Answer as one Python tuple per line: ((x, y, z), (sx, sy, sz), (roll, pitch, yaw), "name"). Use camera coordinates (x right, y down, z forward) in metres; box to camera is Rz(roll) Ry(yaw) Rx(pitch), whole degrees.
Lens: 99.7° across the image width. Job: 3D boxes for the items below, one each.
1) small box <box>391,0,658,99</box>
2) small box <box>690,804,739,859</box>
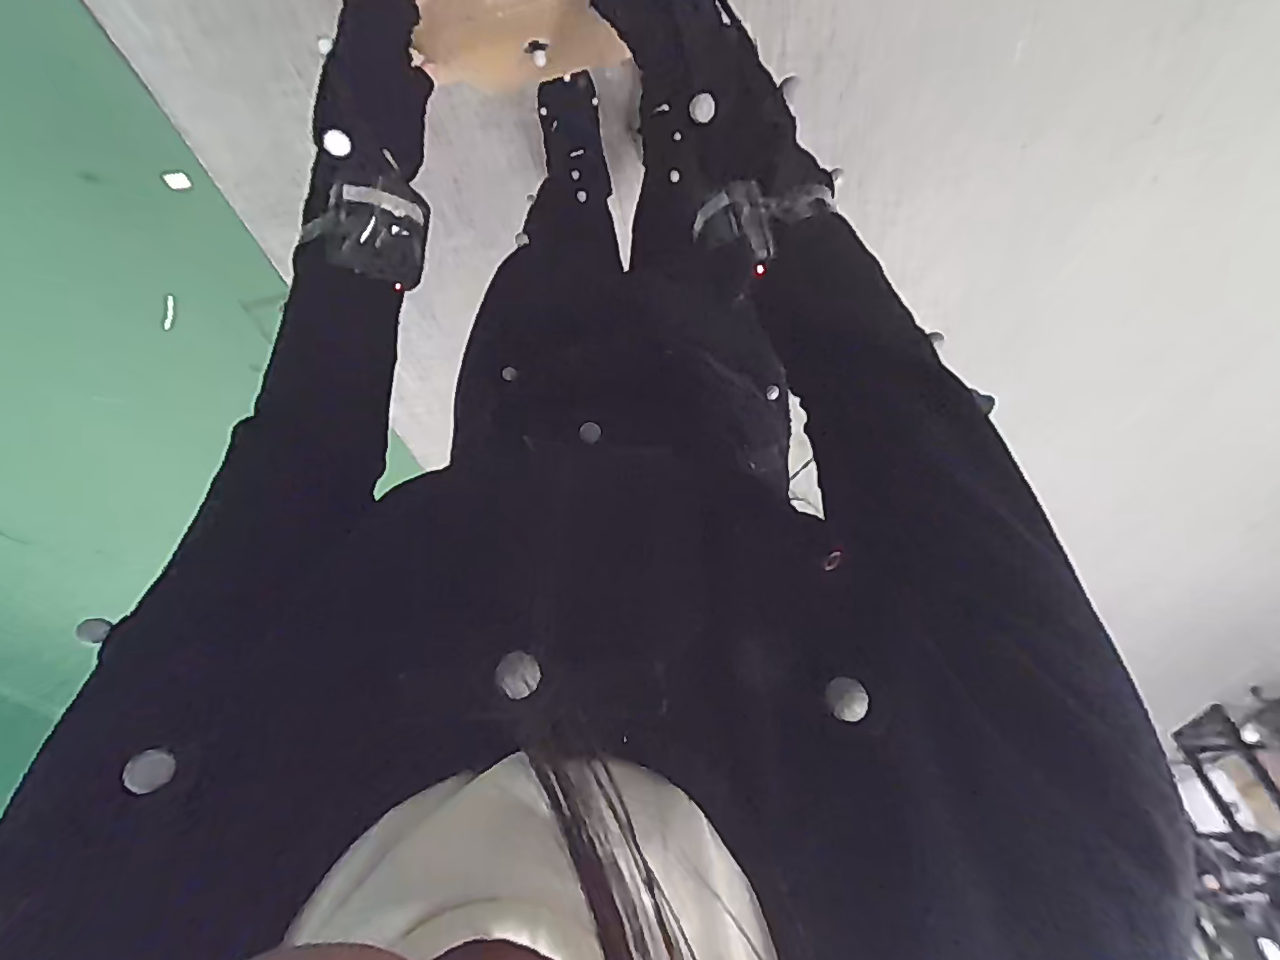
((-0.088, -0.421, 0.409), (0.179, 0.176, 0.168), (-8, 112, 14), "small box")
((0.303, 1.440, 2.214), (0.179, 0.176, 0.168), (-7, 136, 11), "small box")
